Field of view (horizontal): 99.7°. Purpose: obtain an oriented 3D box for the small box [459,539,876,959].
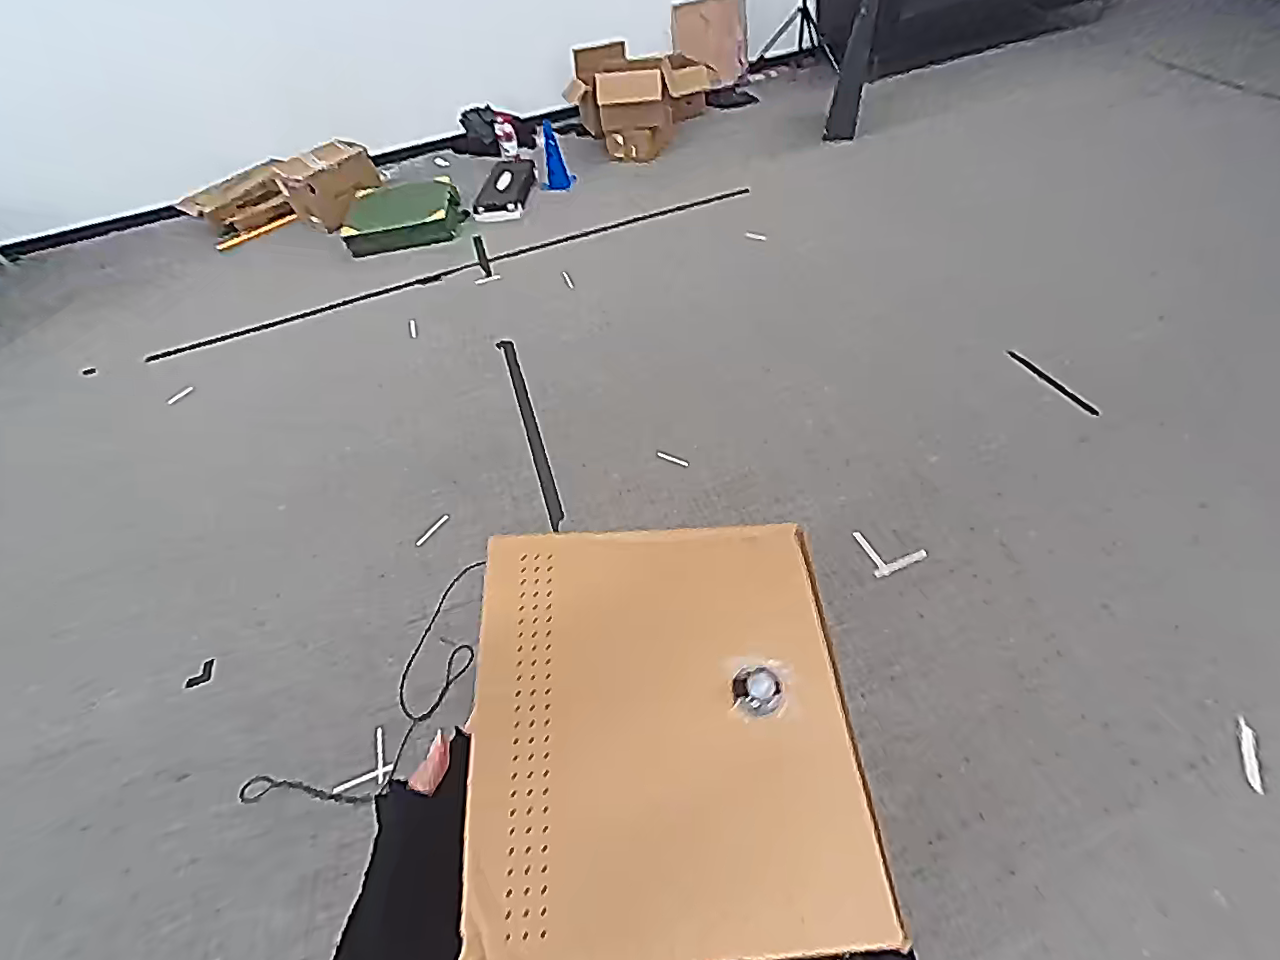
[{"bbox_3d":[0.000,0.151,0.315,0.176,0.168,0.179,-3,58,-4],"label":"small box"}]
